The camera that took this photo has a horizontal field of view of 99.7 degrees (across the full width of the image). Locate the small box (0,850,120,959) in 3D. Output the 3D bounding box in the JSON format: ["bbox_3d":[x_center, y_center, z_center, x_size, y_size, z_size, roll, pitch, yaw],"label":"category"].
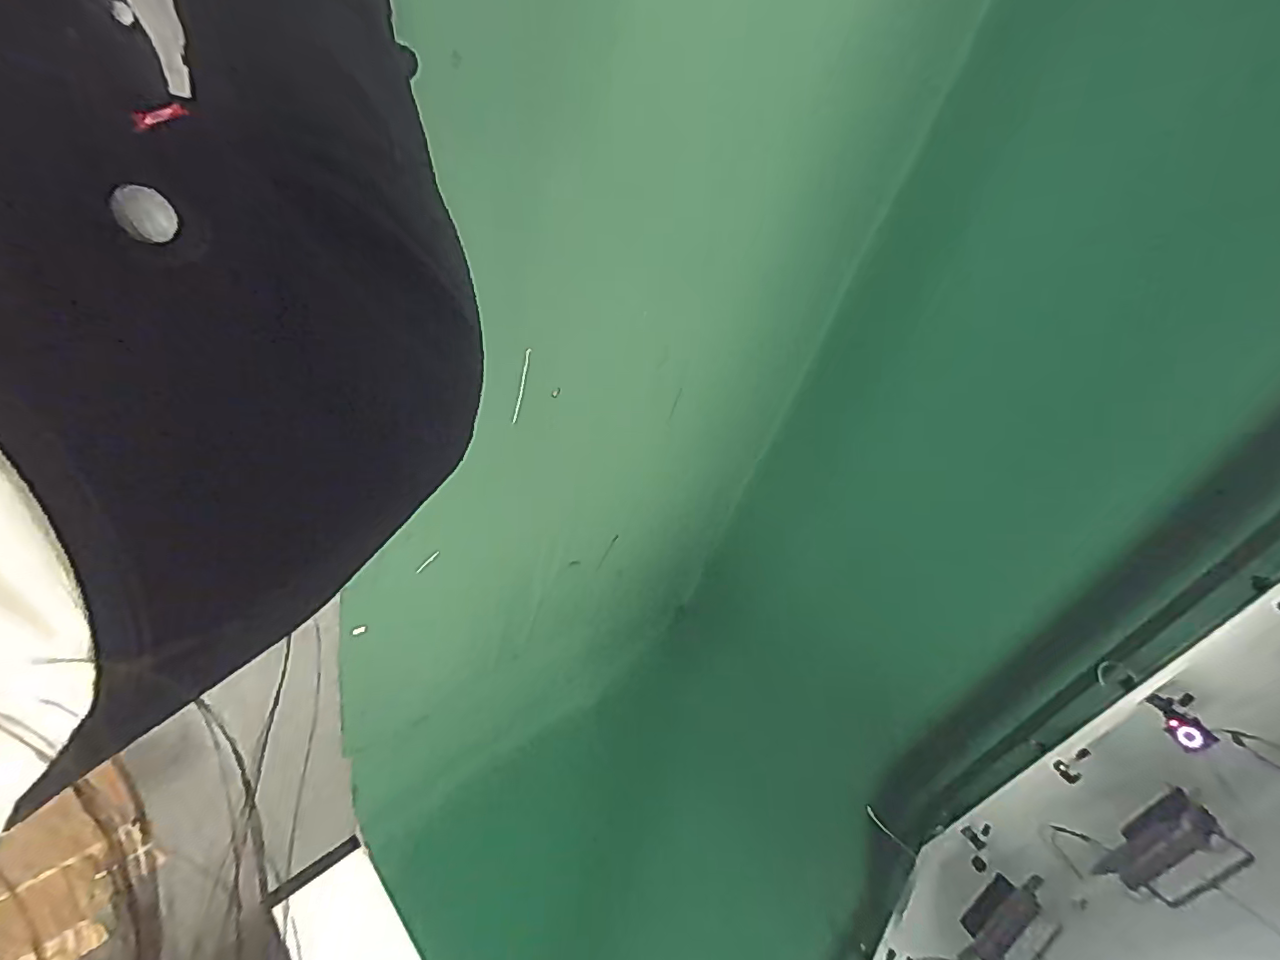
[{"bbox_3d":[-1.512,1.120,1.407,0.179,0.176,0.168,-22,139,-42],"label":"small box"}]
